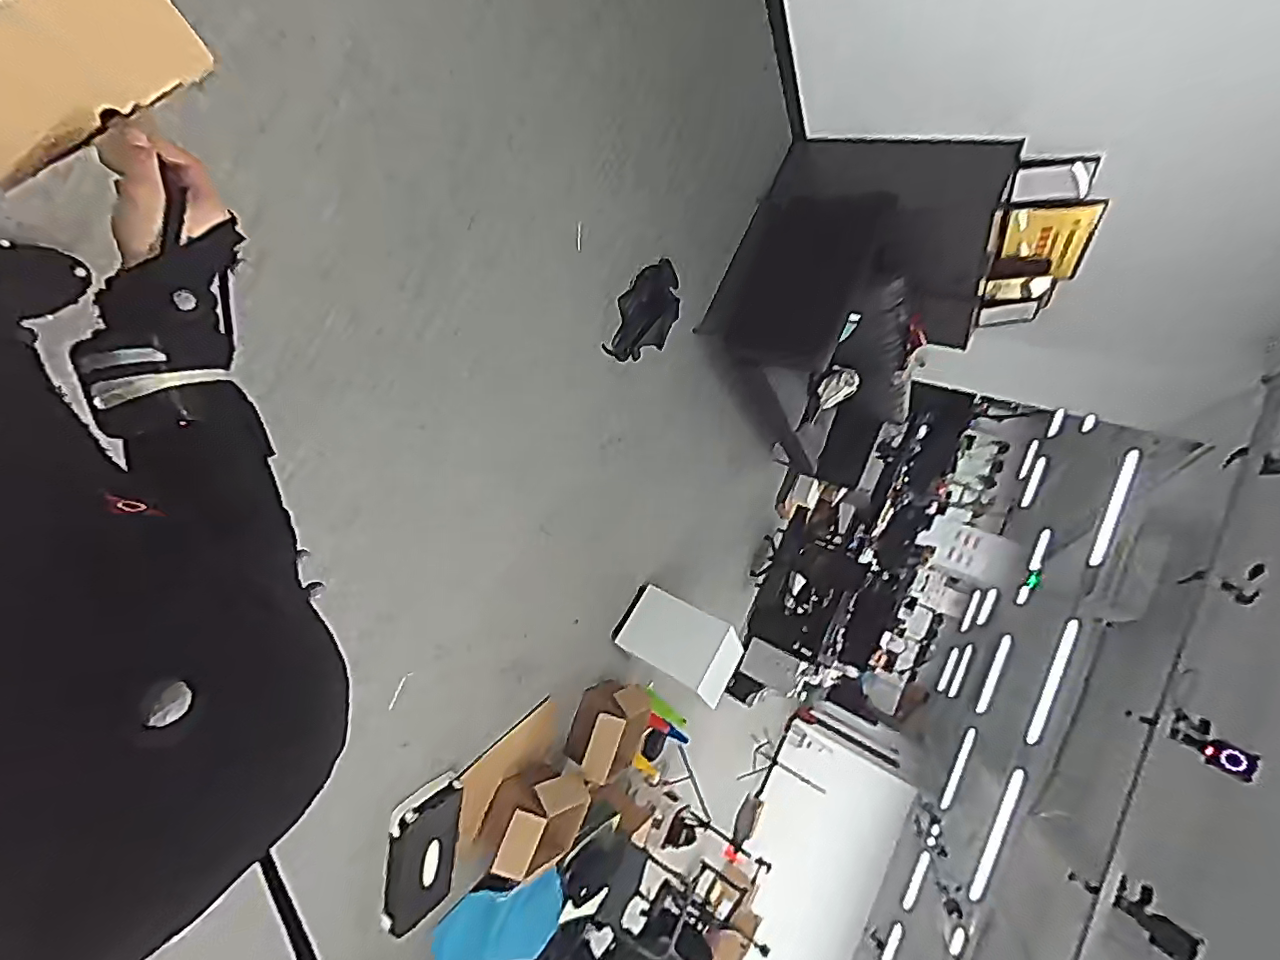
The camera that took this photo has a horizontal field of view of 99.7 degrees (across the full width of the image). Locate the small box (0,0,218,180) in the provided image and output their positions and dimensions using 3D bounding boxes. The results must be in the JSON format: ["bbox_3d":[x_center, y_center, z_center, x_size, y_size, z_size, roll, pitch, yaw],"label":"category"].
[{"bbox_3d":[-0.437,-0.335,0.346,0.168,0.176,0.179,-45,149,-12],"label":"small box"}]
